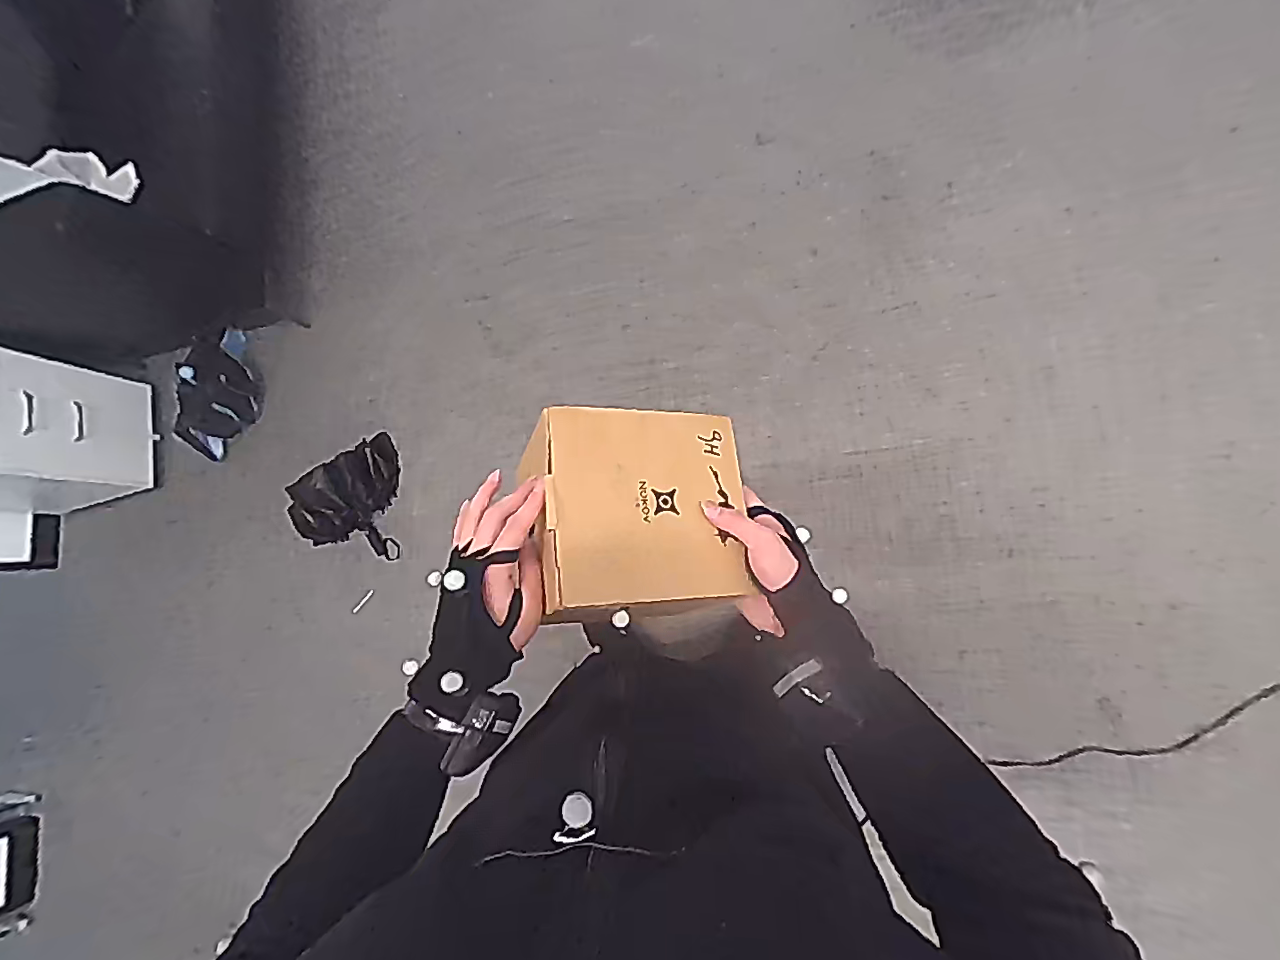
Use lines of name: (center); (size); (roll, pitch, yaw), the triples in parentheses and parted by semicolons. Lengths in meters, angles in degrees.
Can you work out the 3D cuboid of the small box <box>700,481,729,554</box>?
small box: (0.122, 0.110, 1.372); (0.168, 0.176, 0.179); (-12, 81, 17)
